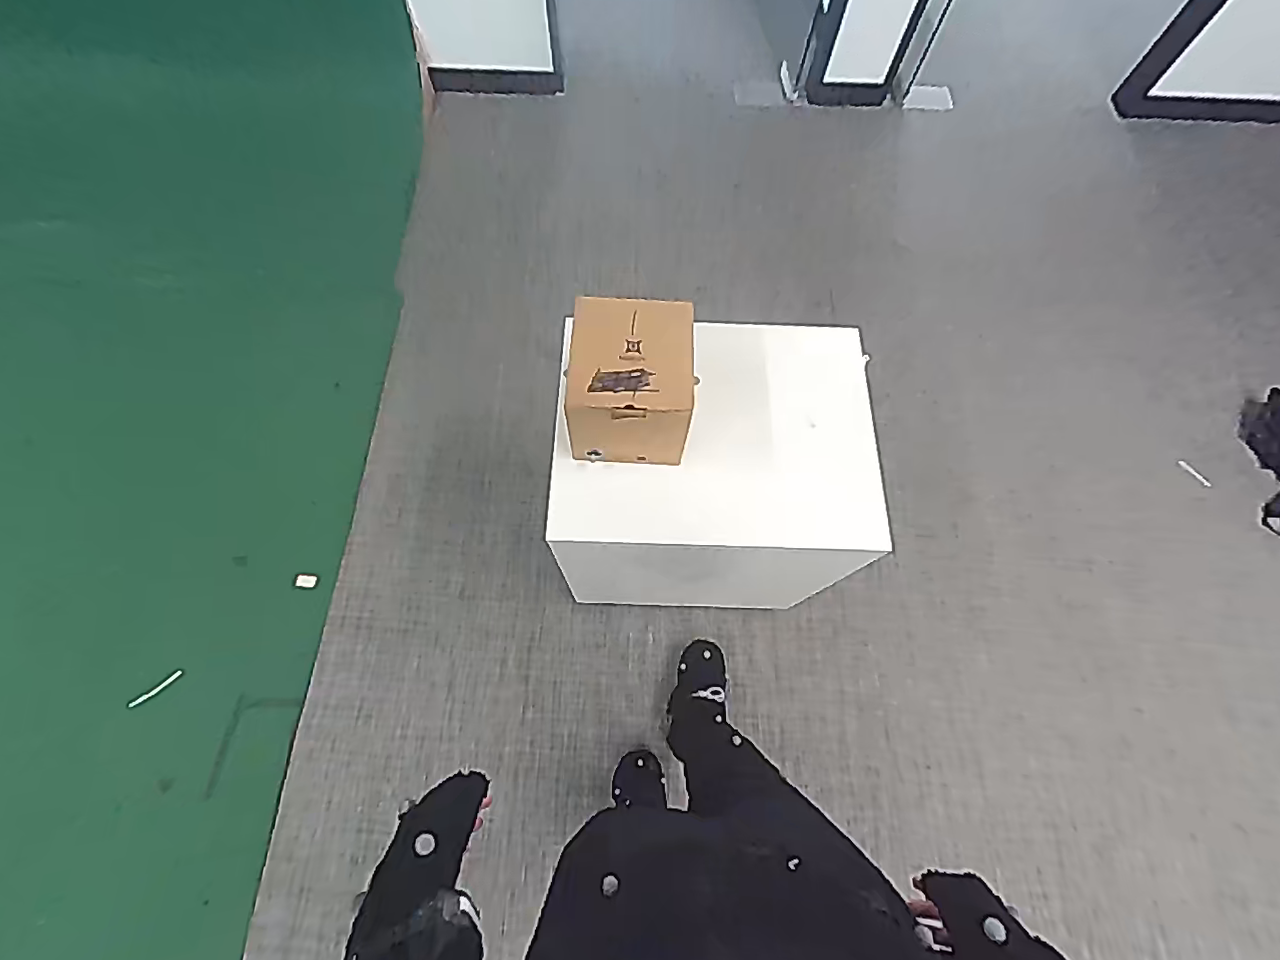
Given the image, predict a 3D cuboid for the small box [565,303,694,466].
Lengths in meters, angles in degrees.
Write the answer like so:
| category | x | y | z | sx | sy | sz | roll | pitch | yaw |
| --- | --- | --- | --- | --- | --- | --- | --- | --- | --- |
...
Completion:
| category | x | y | z | sx | sy | sz | roll | pitch | yaw |
| --- | --- | --- | --- | --- | --- | --- | --- | --- | --- |
| small box | -0.012 | -0.132 | 0.794 | 0.168 | 0.176 | 0.179 | 3 | 67 | -1 |
